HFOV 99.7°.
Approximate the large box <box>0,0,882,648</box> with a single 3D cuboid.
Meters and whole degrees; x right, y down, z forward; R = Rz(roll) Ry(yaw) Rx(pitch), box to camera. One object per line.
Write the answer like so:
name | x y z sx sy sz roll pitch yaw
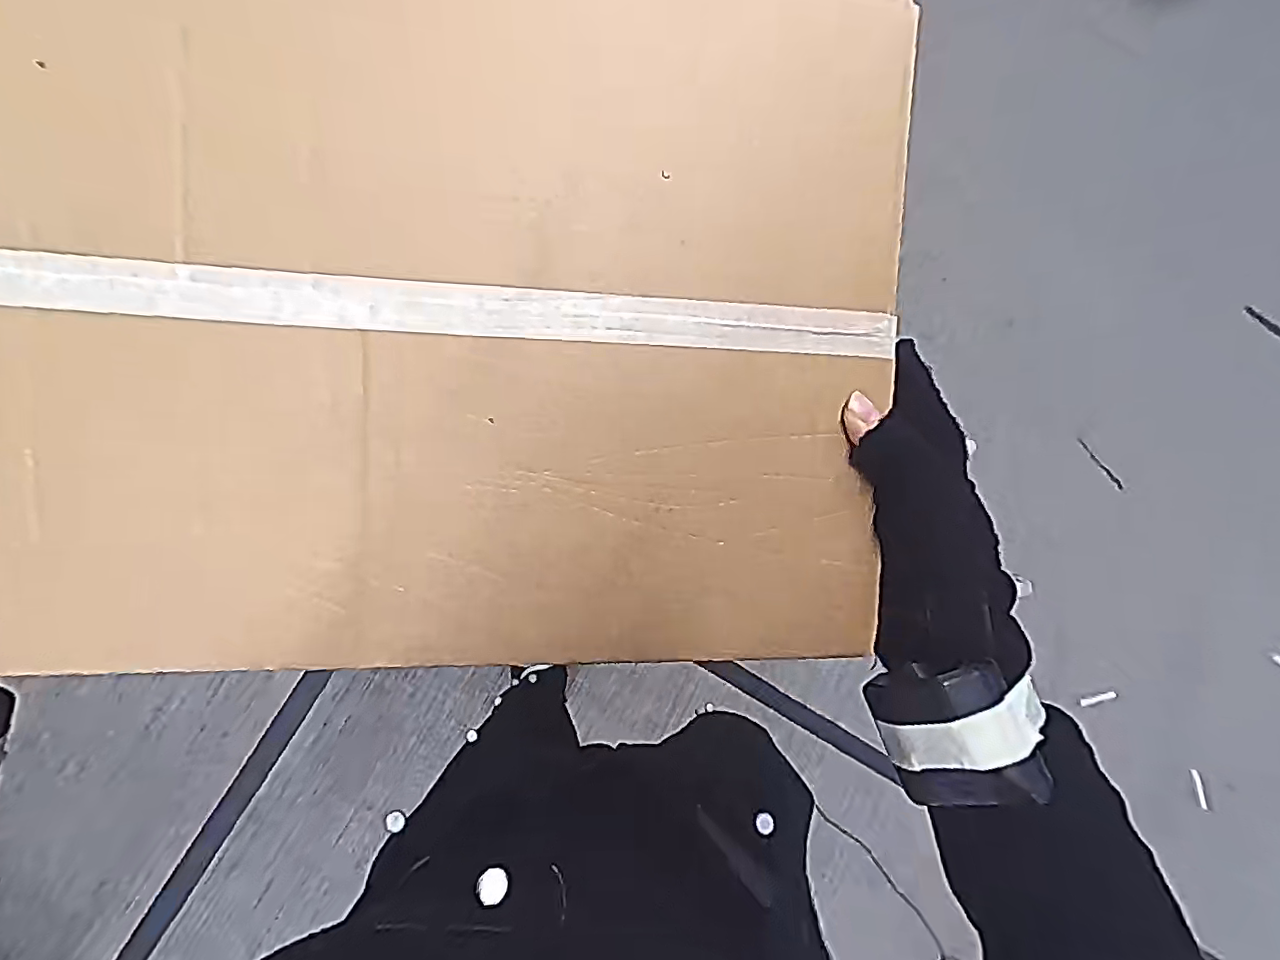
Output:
large box | -0.104 -0.092 0.390 0.408 0.320 0.320 2 94 -9
